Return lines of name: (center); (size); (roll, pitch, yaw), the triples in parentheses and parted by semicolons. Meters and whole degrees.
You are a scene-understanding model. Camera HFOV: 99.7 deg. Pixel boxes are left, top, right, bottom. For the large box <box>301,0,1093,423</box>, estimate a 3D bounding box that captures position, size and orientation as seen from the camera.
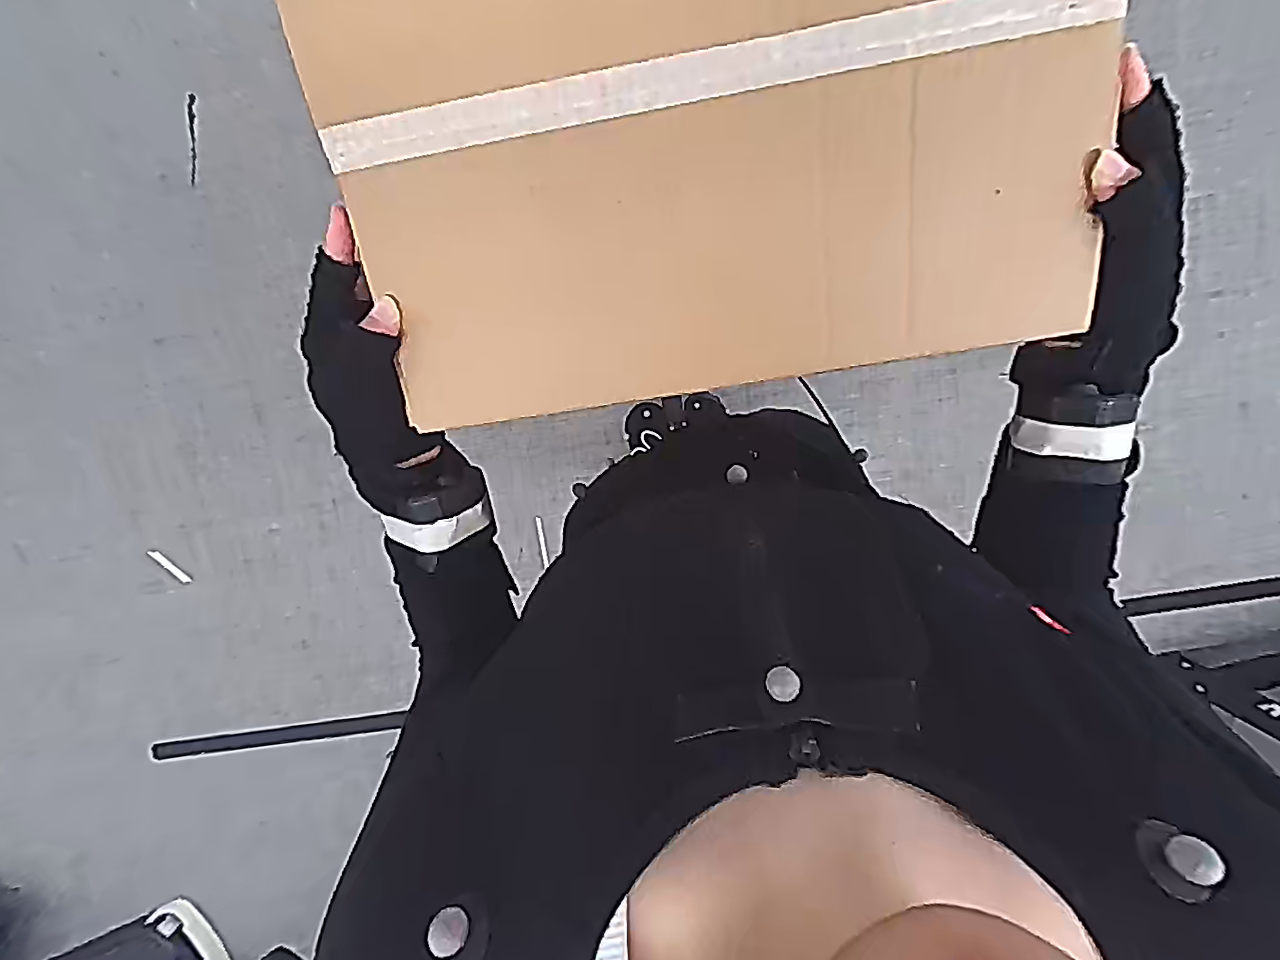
large box: (0.035, -0.256, 0.429); (0.408, 0.320, 0.320); (-8, 110, 4)
